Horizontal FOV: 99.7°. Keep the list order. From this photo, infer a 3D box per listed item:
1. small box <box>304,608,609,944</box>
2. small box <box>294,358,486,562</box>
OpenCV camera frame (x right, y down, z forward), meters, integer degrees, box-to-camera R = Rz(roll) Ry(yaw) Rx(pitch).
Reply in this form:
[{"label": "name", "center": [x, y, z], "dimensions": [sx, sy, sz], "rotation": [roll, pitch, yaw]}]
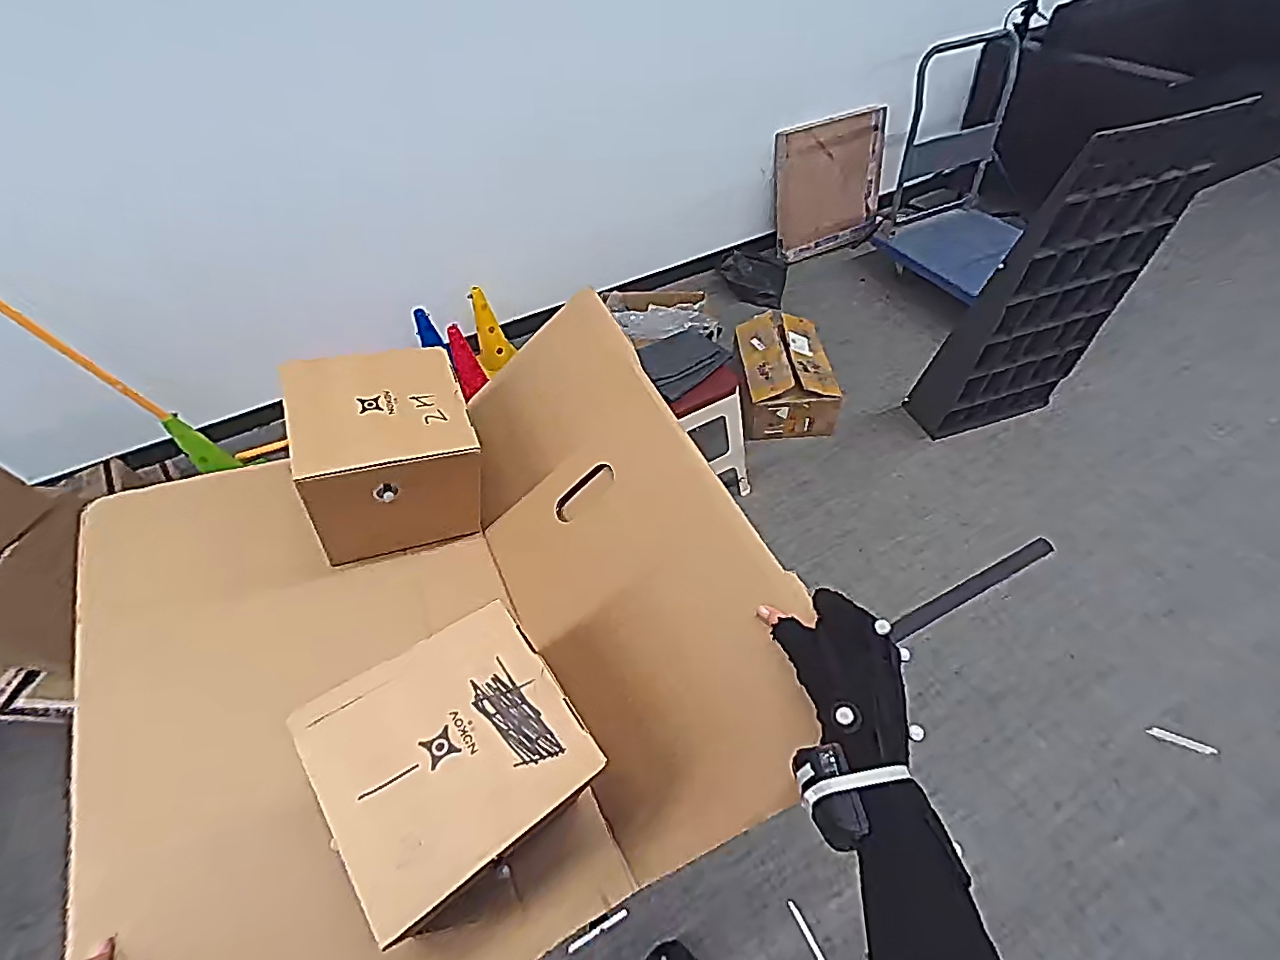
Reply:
[{"label": "small box", "center": [-0.154, 0.249, 0.473], "dimensions": [0.179, 0.176, 0.168], "rotation": [-26, 64, -31]}, {"label": "small box", "center": [-0.289, -0.022, 0.647], "dimensions": [0.179, 0.176, 0.168], "rotation": [-11, 58, -25]}]
